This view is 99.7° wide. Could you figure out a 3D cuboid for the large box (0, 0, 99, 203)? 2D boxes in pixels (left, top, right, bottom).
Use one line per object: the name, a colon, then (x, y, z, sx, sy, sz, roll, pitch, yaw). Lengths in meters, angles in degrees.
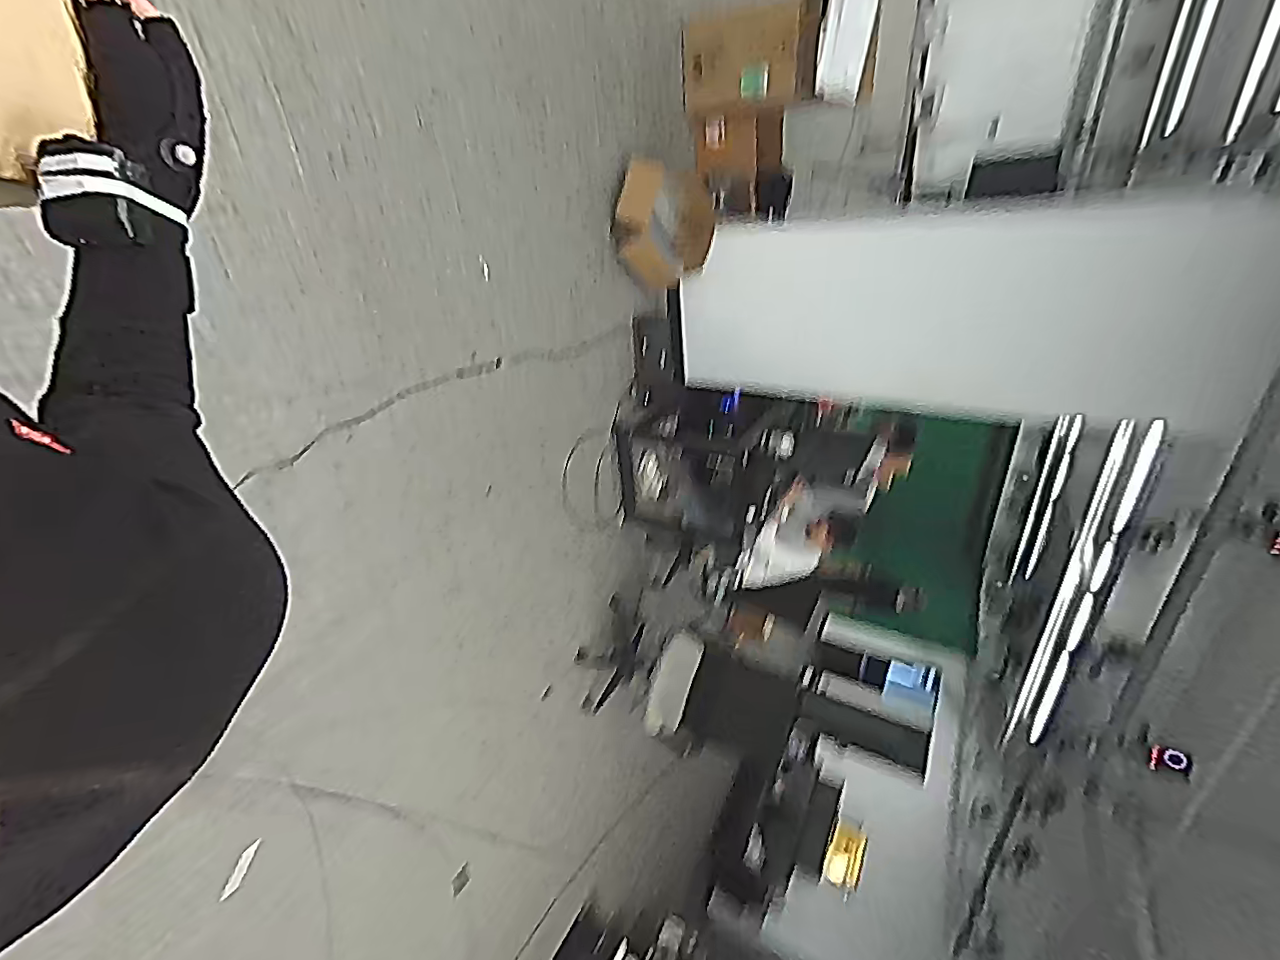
large box: (-0.615, -0.382, 0.283, 0.408, 0.320, 0.320, -4, 106, -63)
